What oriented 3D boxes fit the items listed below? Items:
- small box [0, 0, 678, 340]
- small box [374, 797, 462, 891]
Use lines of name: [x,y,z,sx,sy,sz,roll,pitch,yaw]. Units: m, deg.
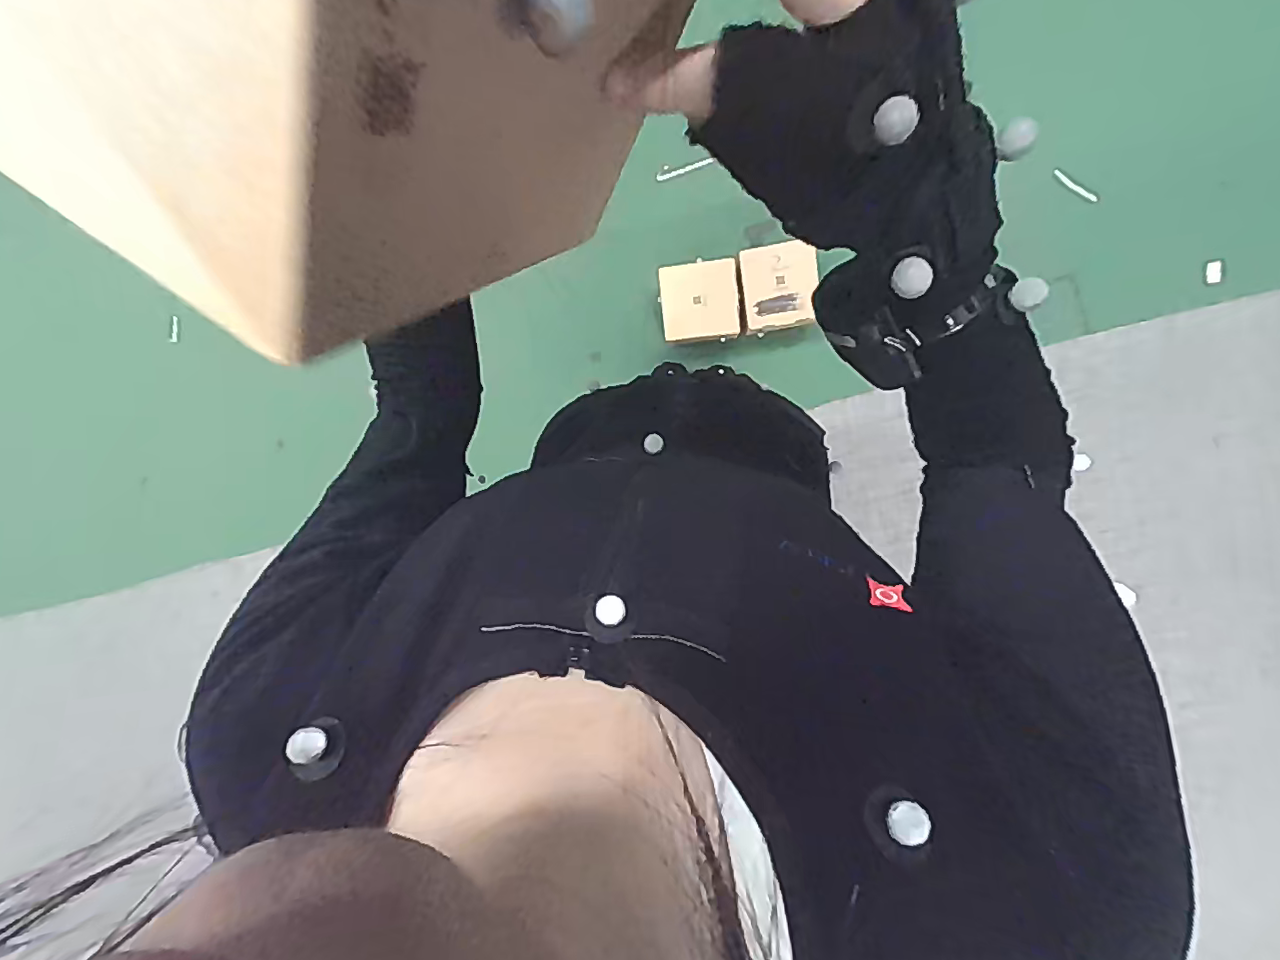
small box: [-0.088,-0.170,0.135,0.179,0.176,0.168,33,133,-2]
small box: [-0.692,1.149,1.718,0.179,0.176,0.168,-22,99,11]
